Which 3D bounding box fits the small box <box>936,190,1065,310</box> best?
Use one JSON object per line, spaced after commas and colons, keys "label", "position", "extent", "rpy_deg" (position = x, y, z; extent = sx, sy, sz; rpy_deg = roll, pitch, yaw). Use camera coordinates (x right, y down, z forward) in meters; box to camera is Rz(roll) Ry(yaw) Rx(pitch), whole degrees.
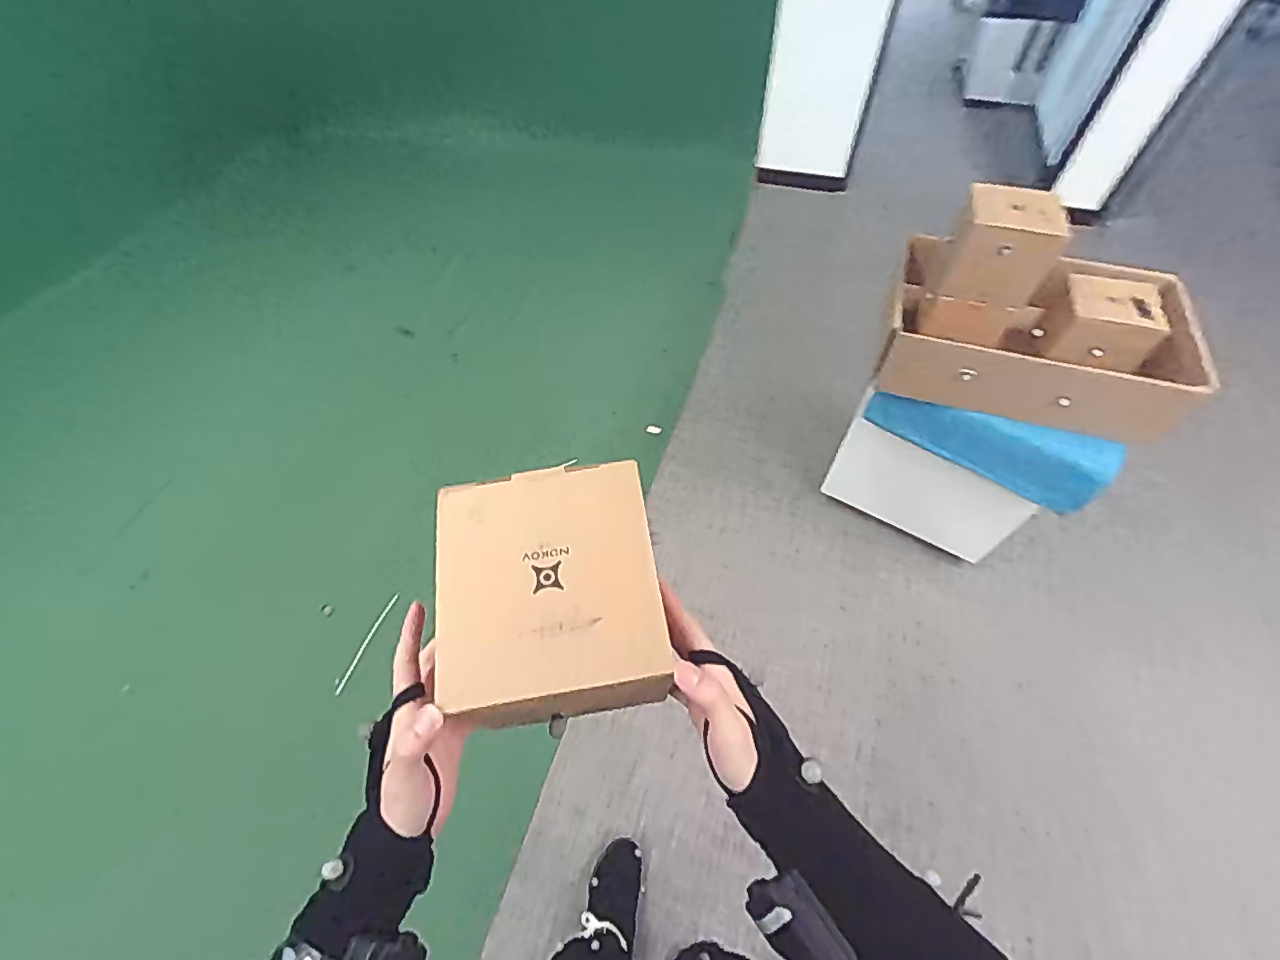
{"label": "small box", "position": [0.755, -0.489, 1.157], "extent": [0.179, 0.176, 0.168], "rpy_deg": [14, 57, 10]}

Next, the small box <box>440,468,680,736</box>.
{"label": "small box", "position": [-0.064, 0.113, 0.476], "extent": [0.168, 0.176, 0.179], "rpy_deg": [-8, 61, -3]}
